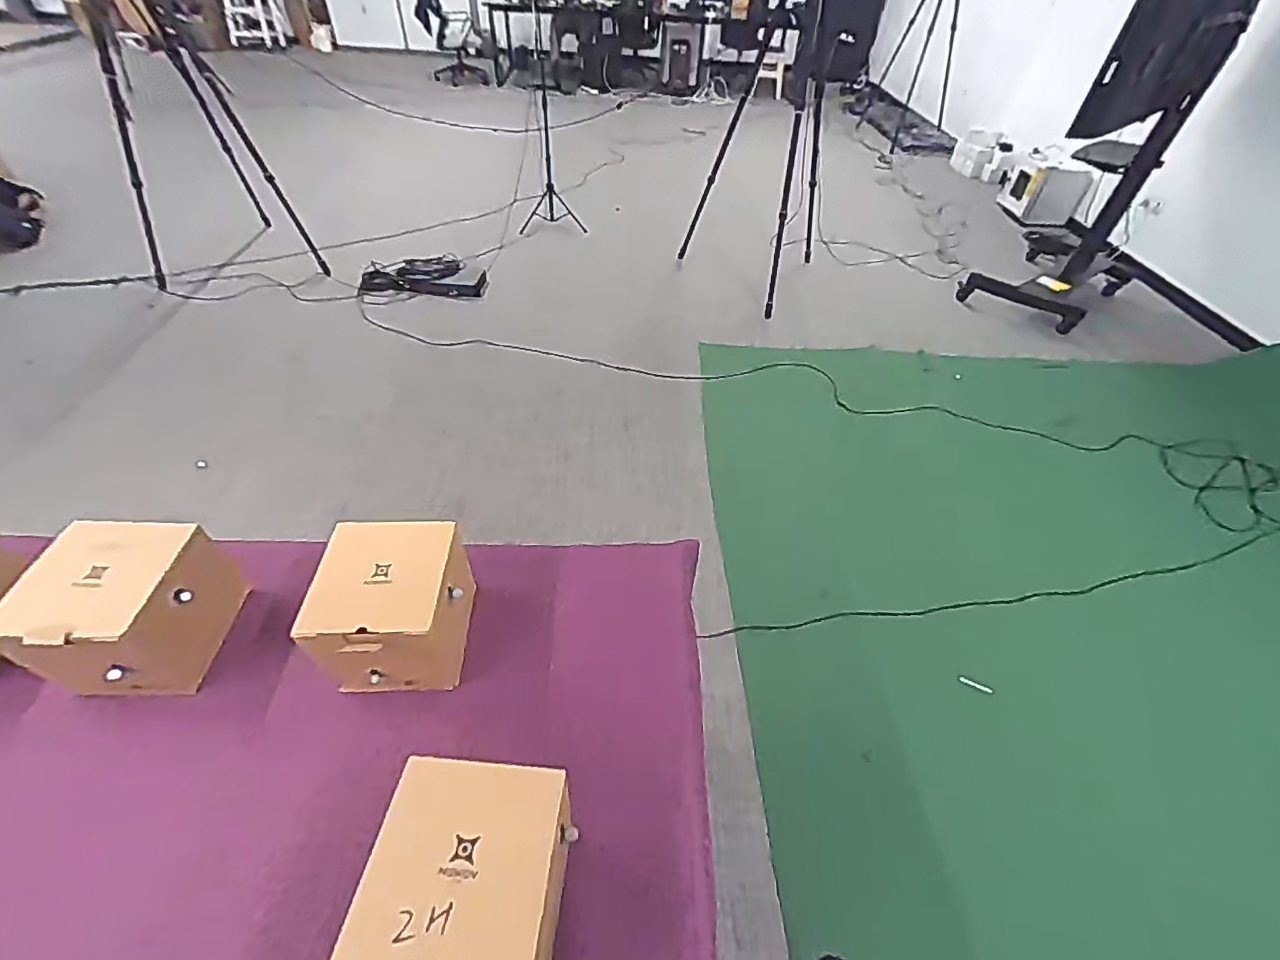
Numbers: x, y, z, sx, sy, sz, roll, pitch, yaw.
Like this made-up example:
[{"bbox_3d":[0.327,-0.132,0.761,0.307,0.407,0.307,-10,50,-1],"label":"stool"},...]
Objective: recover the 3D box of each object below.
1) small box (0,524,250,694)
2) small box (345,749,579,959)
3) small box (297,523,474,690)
[{"bbox_3d":[-0.690,0.181,0.748,0.168,0.176,0.179,2,46,-3],"label":"small box"},{"bbox_3d":[-0.157,0.406,0.549,0.168,0.176,0.179,4,40,3],"label":"small box"},{"bbox_3d":[-0.341,0.179,0.770,0.168,0.176,0.179,-1,47,-4],"label":"small box"}]
